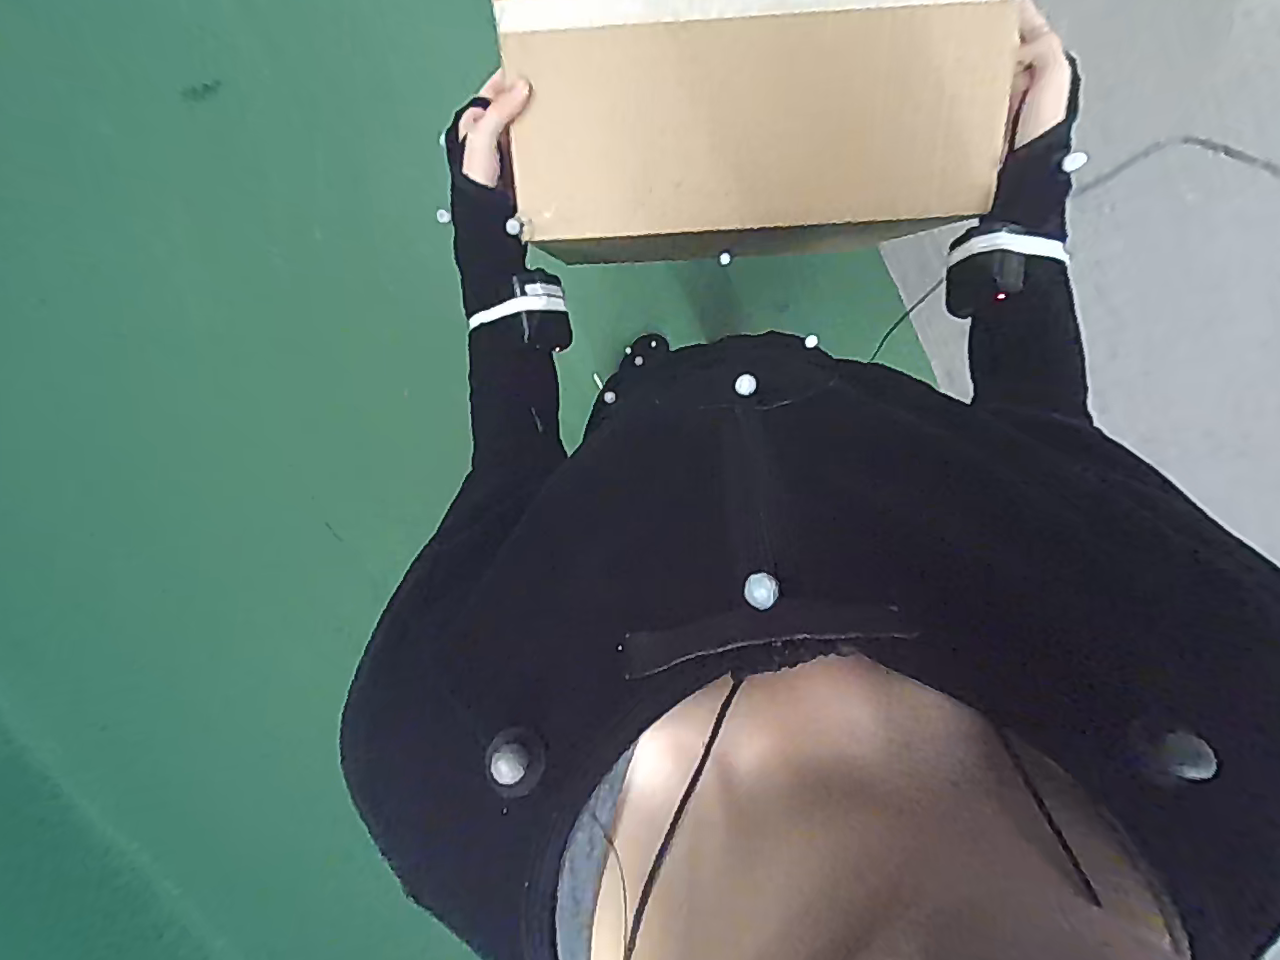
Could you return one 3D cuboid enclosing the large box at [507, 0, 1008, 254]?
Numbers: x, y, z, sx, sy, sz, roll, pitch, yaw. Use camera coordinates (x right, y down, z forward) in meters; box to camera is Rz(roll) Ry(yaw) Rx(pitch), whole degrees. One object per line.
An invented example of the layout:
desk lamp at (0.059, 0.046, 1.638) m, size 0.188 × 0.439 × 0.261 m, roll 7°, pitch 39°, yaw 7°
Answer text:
large box at (0.096, -0.422, 0.570) m, size 0.408 × 0.320 × 0.320 m, roll -2°, pitch 108°, yaw 1°
